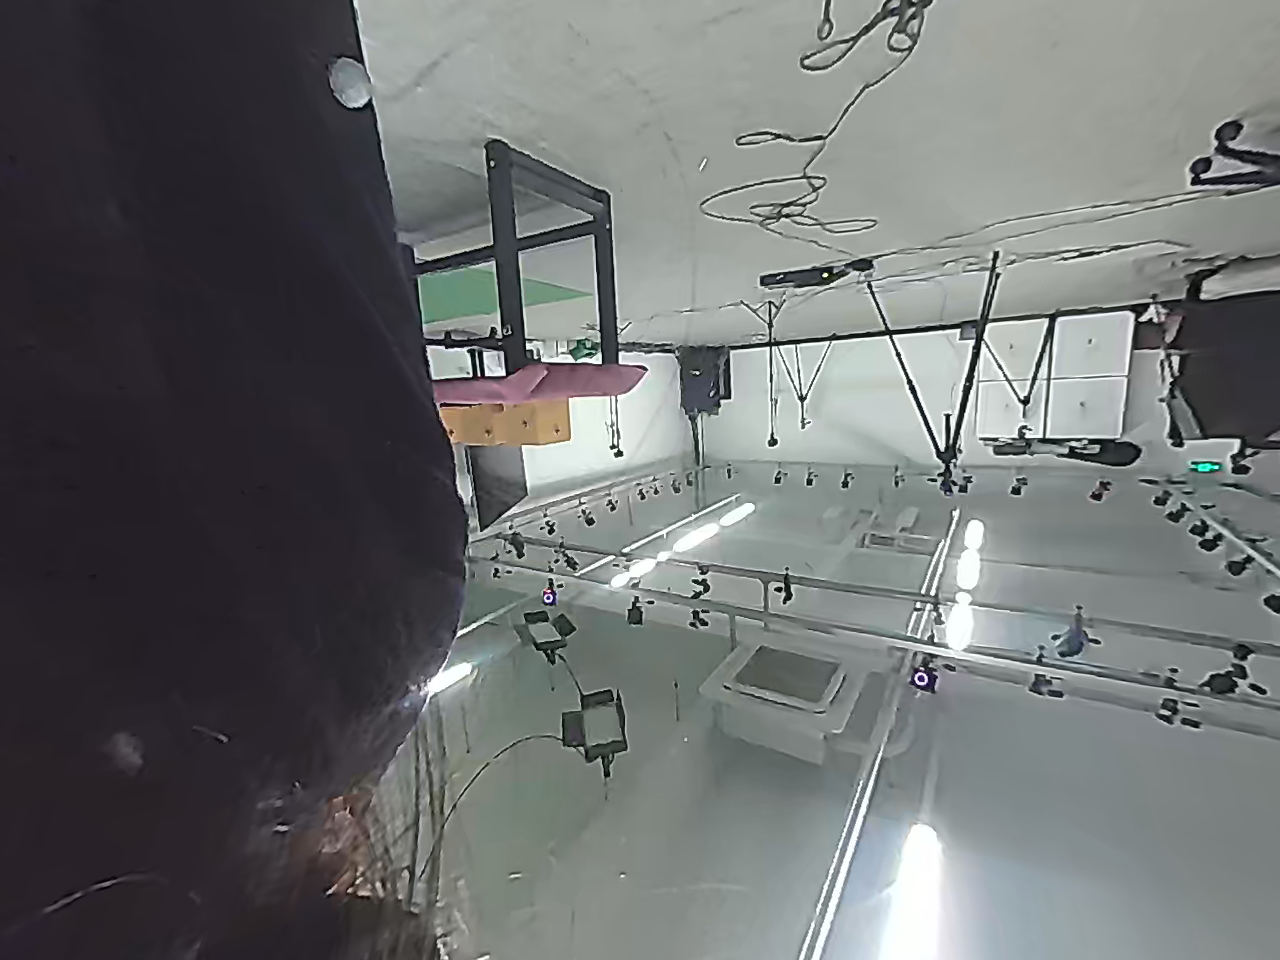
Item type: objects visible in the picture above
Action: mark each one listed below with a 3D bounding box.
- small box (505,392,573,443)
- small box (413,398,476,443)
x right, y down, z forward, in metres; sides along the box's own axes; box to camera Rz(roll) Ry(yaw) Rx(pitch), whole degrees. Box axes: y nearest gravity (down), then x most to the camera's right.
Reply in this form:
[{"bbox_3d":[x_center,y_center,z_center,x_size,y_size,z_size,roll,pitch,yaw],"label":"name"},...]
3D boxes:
[{"bbox_3d":[-0.367,-0.227,1.955,0.168,0.176,0.179,3,-168,33],"label":"small box"},{"bbox_3d":[-0.801,-0.244,2.205,0.168,0.176,0.179,2,-169,27],"label":"small box"}]
